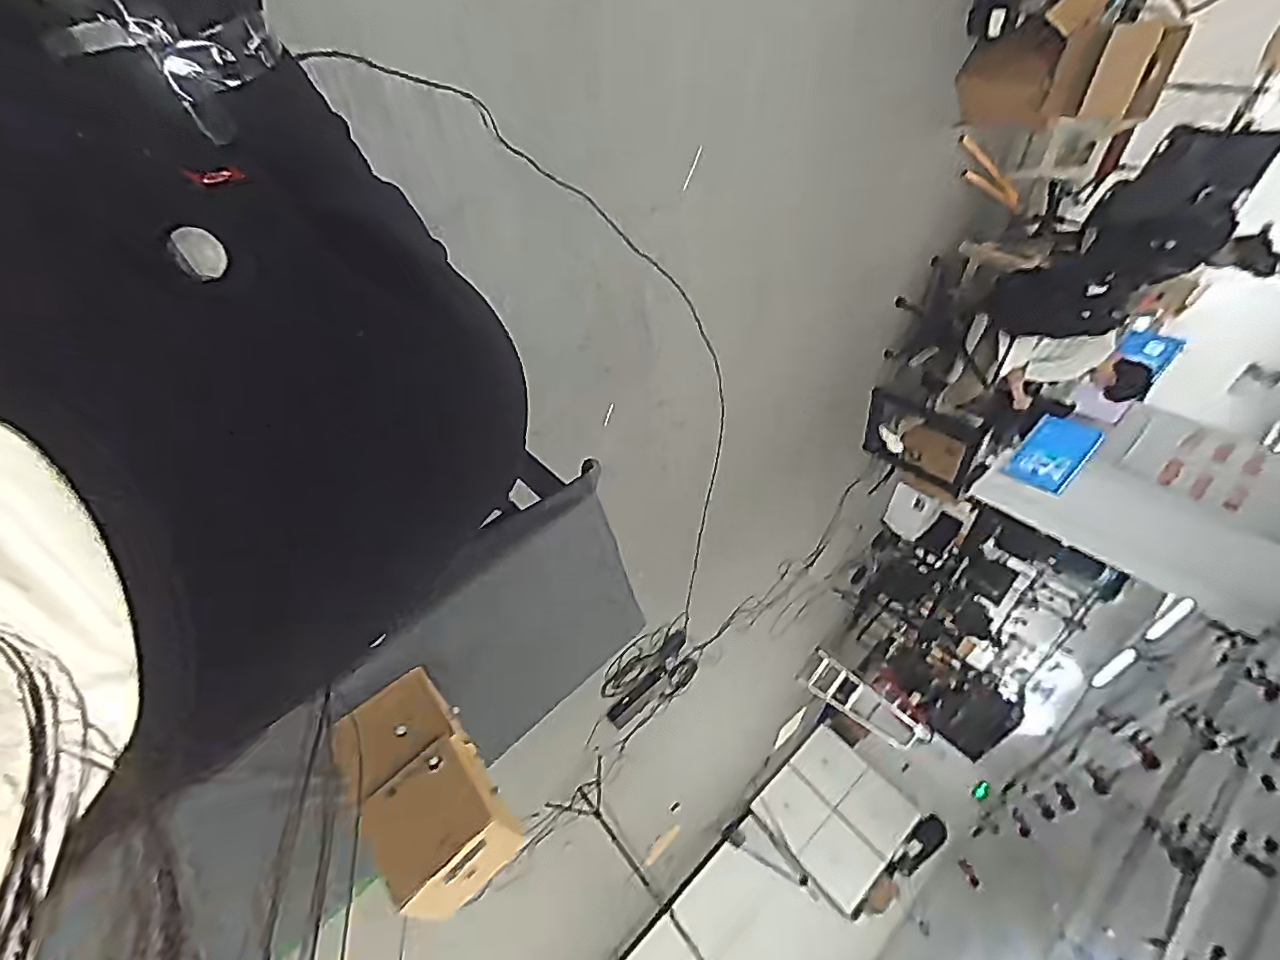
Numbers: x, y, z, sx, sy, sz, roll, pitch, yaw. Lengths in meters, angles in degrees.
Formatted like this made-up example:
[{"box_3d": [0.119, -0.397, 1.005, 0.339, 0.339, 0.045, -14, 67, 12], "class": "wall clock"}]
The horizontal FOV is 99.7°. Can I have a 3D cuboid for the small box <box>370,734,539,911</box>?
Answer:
[{"box_3d": [-0.299, 0.547, 0.877, 0.168, 0.176, 0.179, -40, 141, -18], "class": "small box"}]

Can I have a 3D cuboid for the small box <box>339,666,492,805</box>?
[{"box_3d": [-0.406, 0.477, 0.984, 0.179, 0.176, 0.168, -35, 142, -22], "class": "small box"}]
